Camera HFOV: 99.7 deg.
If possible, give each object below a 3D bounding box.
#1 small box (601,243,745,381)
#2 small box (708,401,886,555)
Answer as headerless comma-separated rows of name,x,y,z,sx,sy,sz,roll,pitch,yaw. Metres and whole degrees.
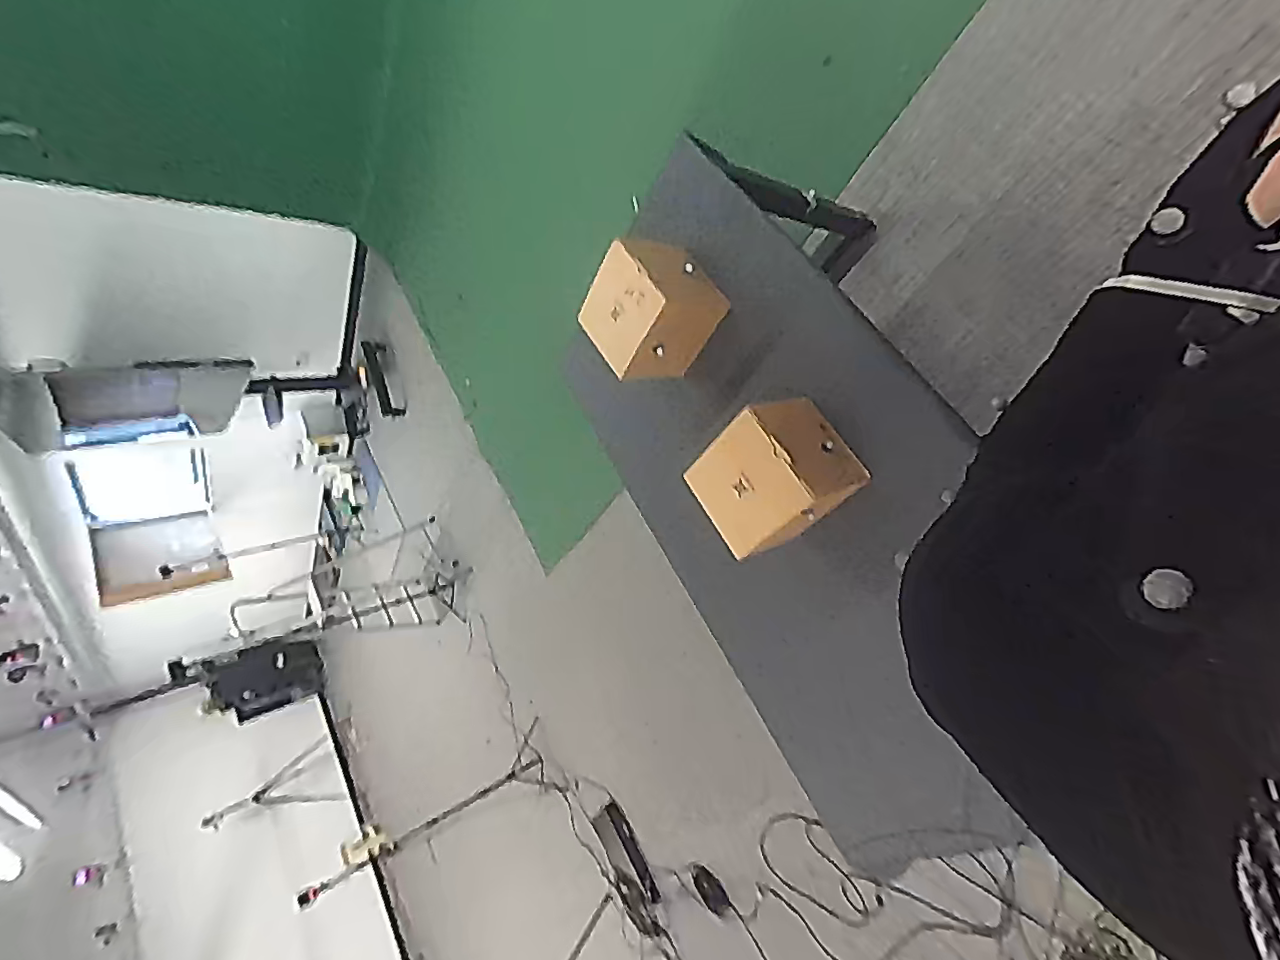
small box,0.060,-0.305,0.999,0.168,0.176,0.179,57,136,22
small box,0.247,-0.008,0.860,0.168,0.176,0.179,59,137,22
